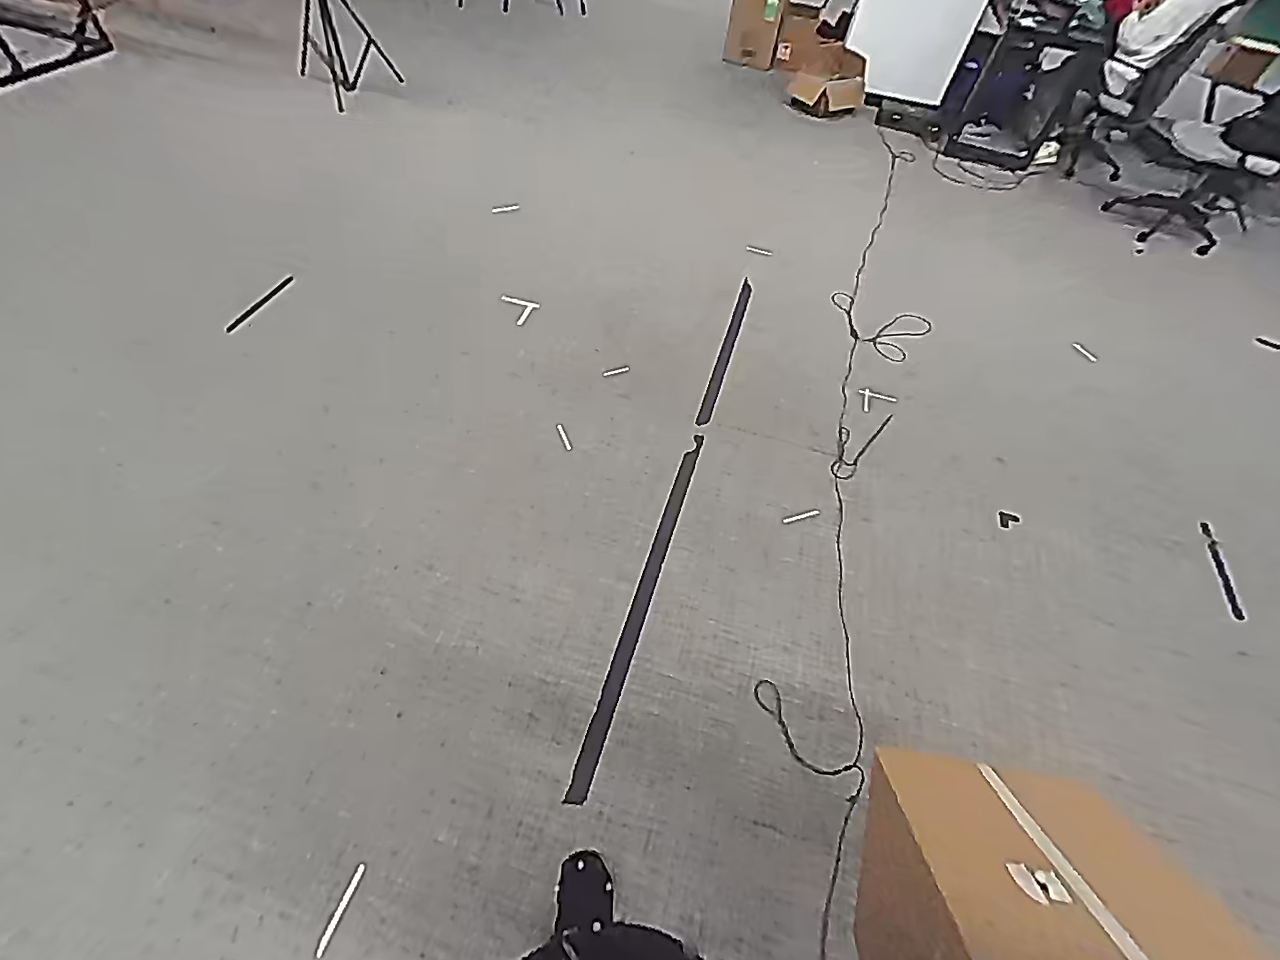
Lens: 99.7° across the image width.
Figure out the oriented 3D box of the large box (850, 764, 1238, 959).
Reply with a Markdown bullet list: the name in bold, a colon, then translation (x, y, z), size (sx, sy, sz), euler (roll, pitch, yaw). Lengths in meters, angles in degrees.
- **large box**: translation (0.472, 0.630, 0.654), size (0.320, 0.408, 0.320), euler (7, 93, 11)
